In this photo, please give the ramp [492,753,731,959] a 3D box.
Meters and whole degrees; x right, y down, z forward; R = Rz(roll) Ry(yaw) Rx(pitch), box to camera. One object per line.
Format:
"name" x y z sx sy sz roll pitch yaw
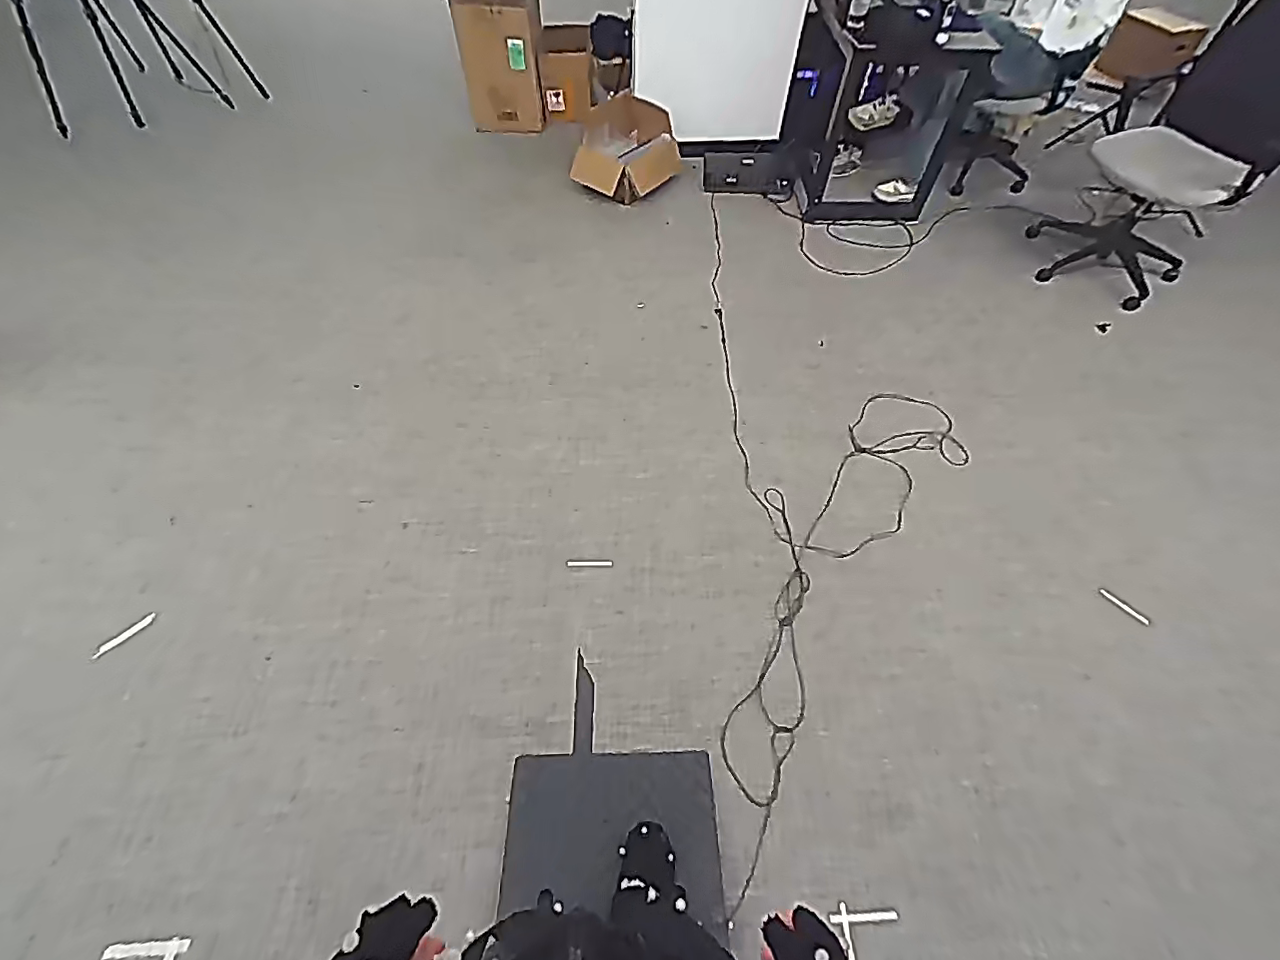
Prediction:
"ramp" -0.056 1.061 1.028 0.509 0.206 0.991 -3 56 -1
